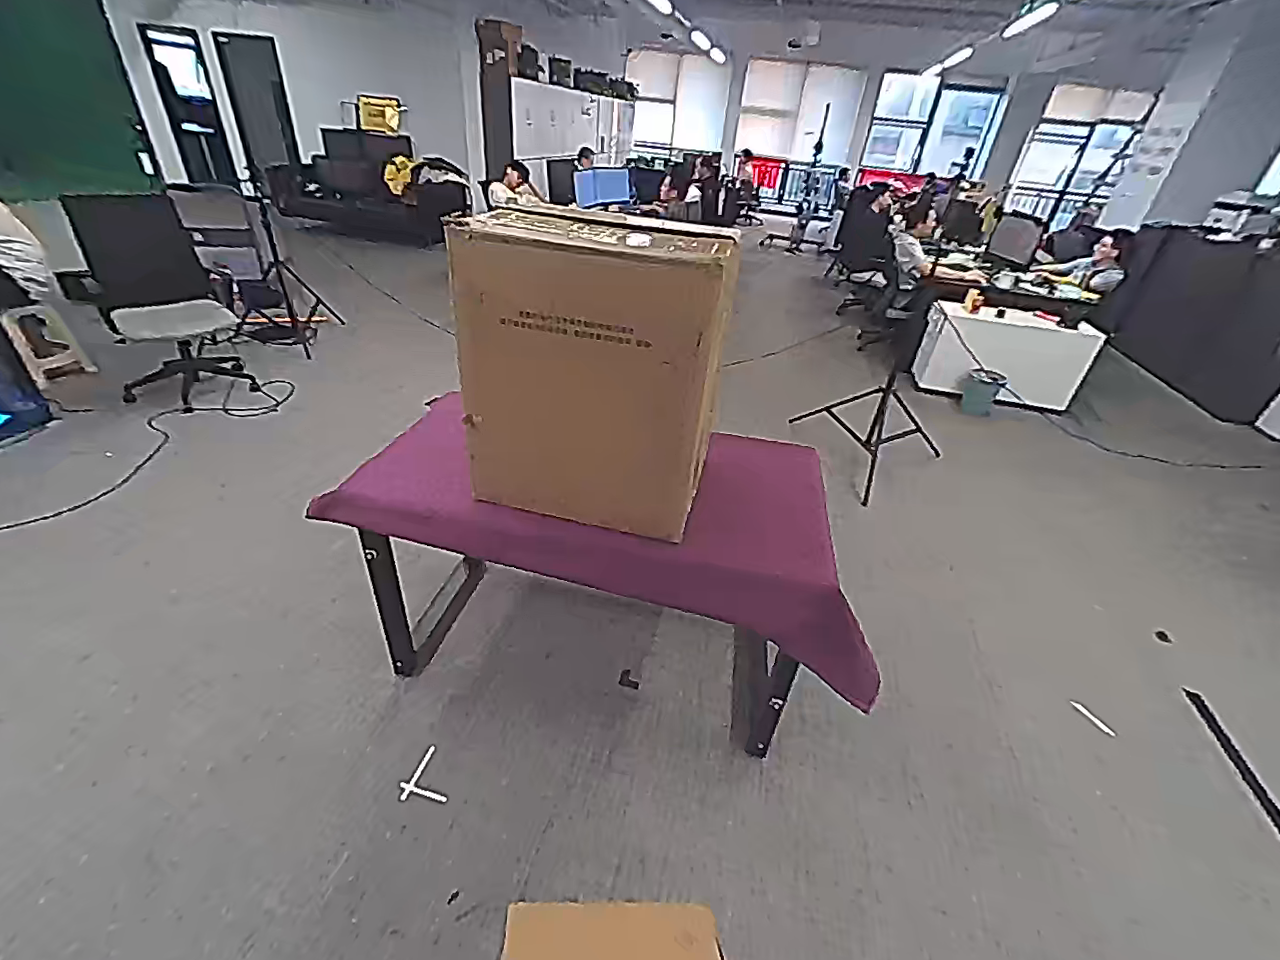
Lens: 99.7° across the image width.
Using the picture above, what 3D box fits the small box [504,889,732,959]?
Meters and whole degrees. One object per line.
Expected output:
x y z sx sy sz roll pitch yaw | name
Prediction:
-0.021 0.442 0.390 0.179 0.176 0.168 5 6 -9 | small box
